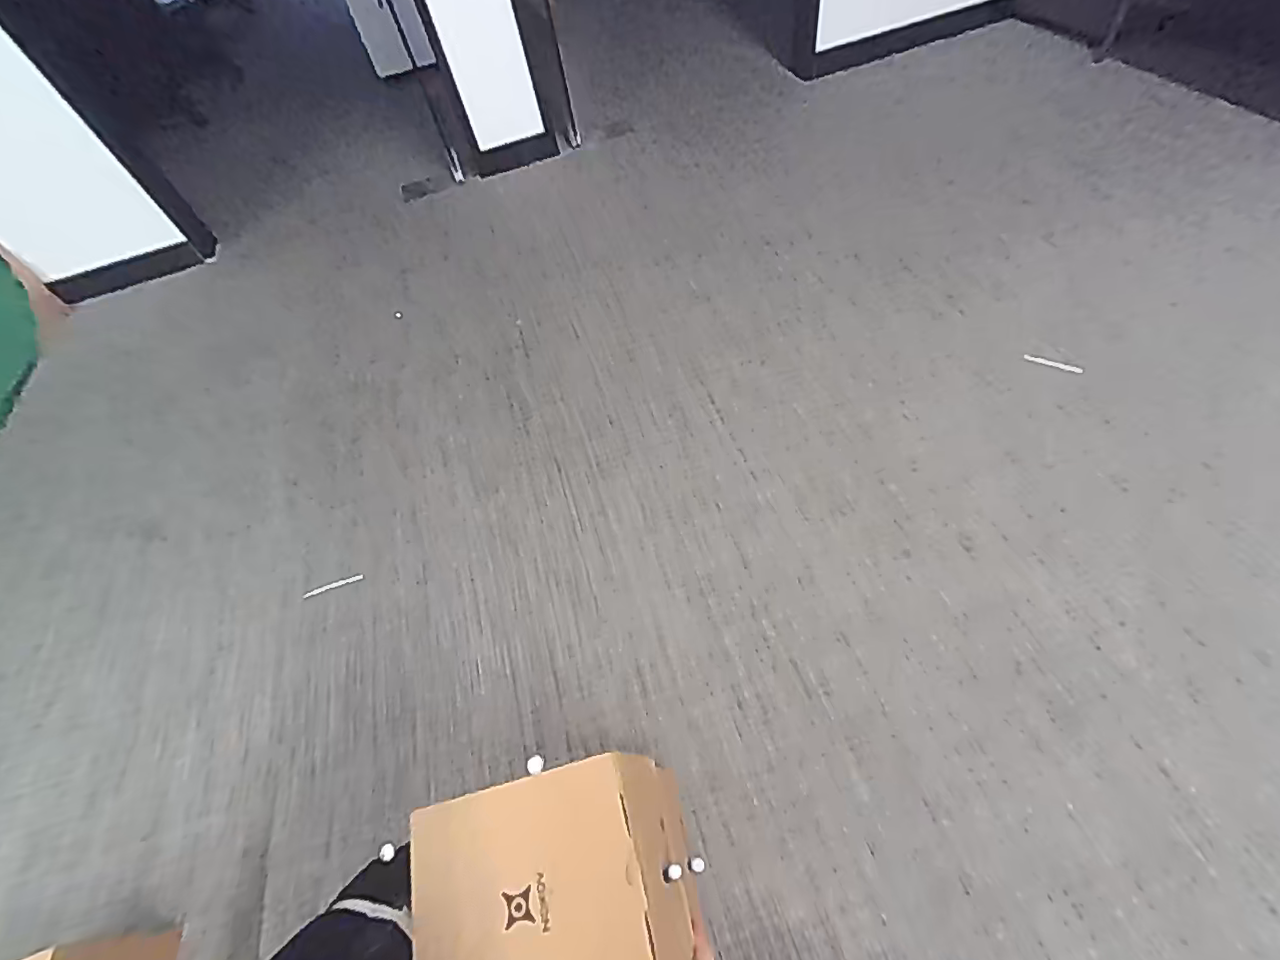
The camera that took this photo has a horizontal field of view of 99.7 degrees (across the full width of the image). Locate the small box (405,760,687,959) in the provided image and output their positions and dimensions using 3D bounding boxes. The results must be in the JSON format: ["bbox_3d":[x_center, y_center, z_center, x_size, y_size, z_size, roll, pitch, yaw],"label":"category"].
[{"bbox_3d":[-0.071,0.352,0.455,0.179,0.176,0.168,-18,58,2],"label":"small box"}]

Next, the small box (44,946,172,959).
[{"bbox_3d":[-0.668,0.641,0.585,0.179,0.176,0.168,-20,52,-5],"label":"small box"}]
